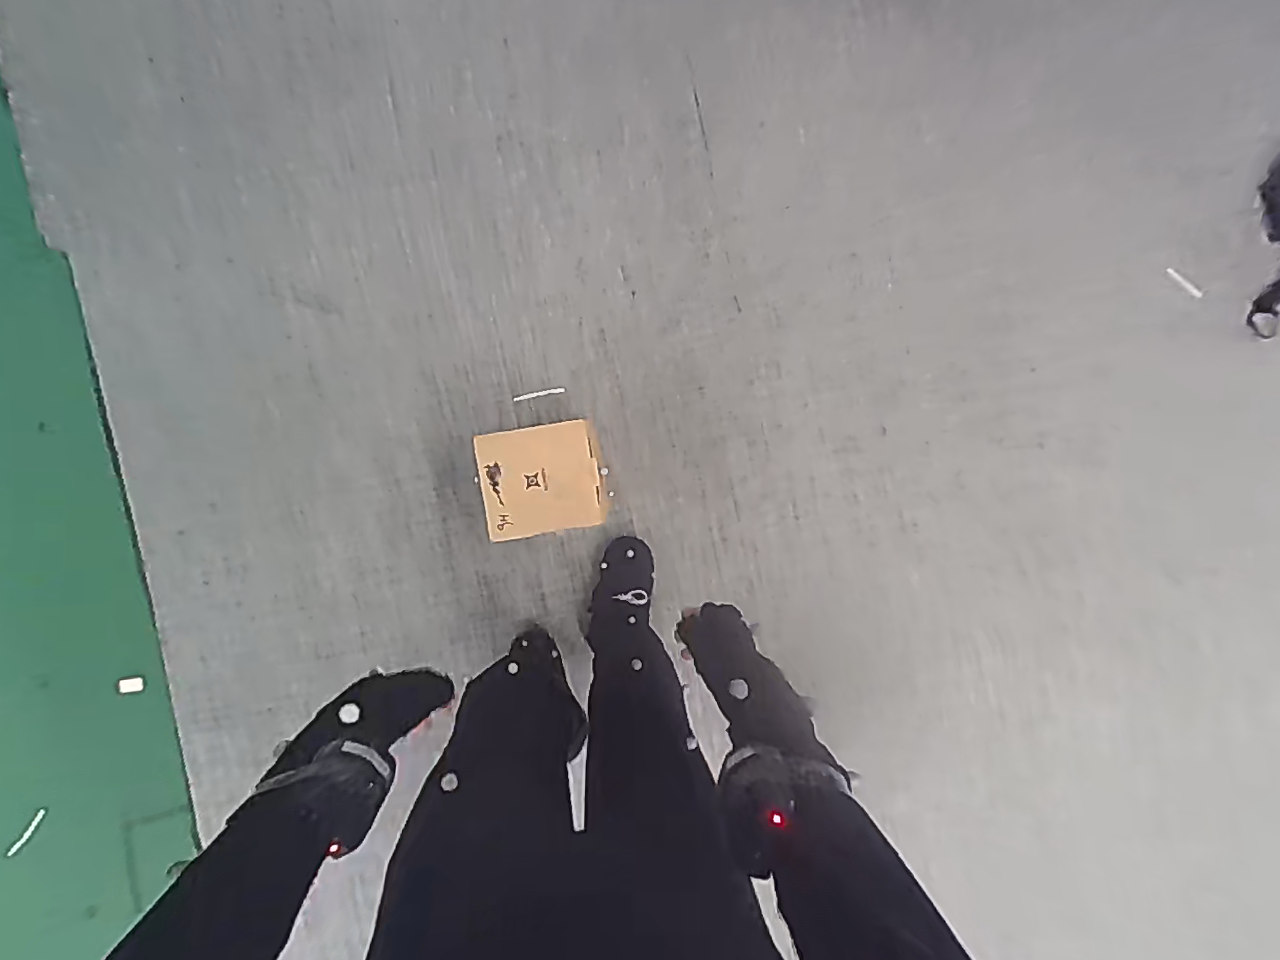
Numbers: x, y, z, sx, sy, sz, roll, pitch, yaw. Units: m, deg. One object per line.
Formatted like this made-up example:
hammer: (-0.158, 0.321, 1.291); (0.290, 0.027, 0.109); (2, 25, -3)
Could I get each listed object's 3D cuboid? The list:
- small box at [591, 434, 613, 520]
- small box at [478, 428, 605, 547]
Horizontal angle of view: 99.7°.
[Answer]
small box: (-0.157, 0.008, 1.071); (0.179, 0.176, 0.168); (-13, 91, -2)
small box: (-0.155, 0.009, 0.908); (0.179, 0.176, 0.168); (-9, 91, -2)
